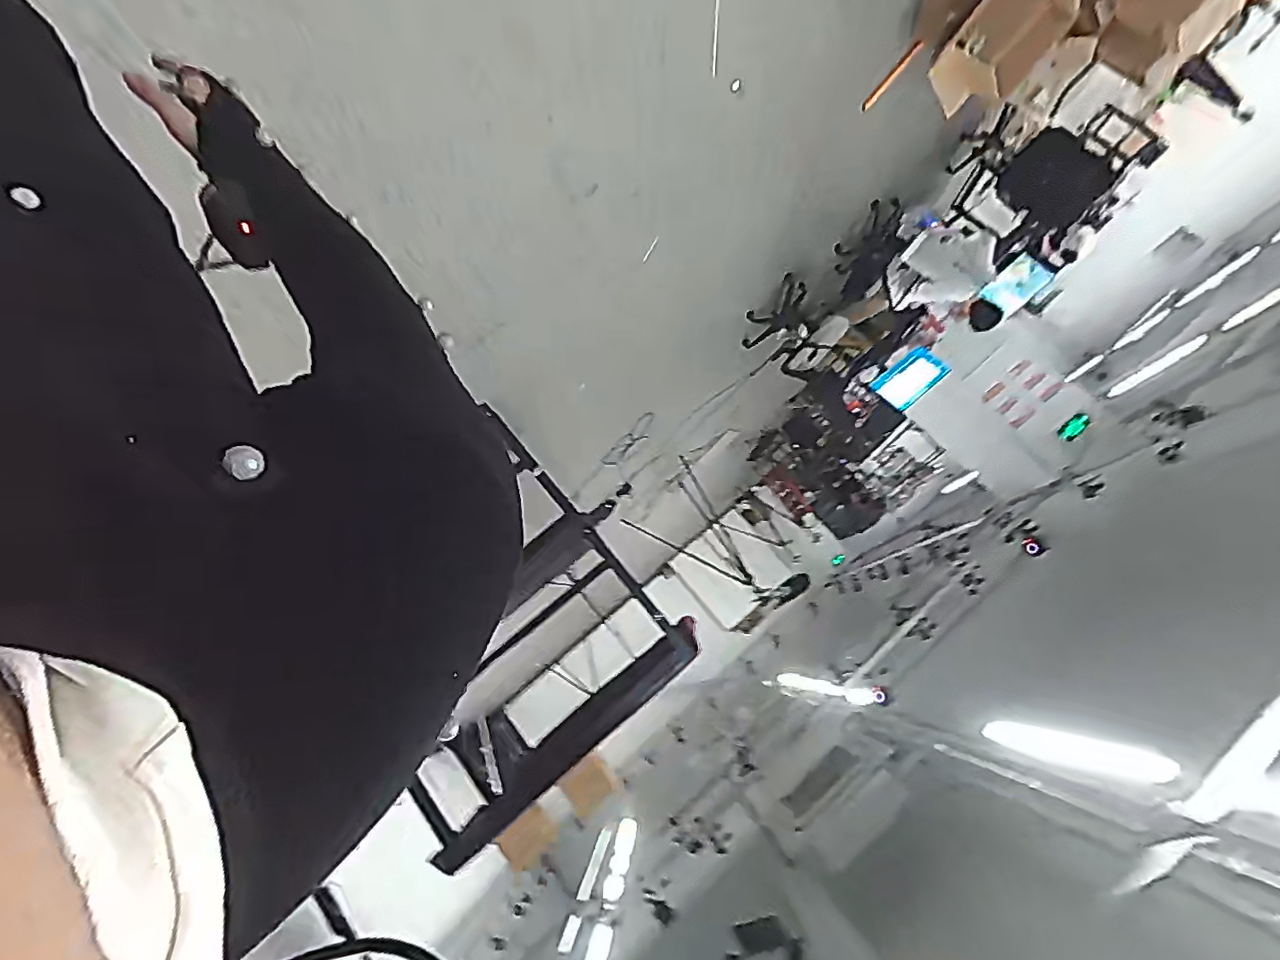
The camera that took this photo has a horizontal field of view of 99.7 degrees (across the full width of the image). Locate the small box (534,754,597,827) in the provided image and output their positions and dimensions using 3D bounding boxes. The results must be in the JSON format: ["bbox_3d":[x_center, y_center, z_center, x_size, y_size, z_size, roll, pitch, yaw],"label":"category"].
[{"bbox_3d":[-0.290,1.207,2.122,0.179,0.176,0.168,-39,166,-12],"label":"small box"}]
